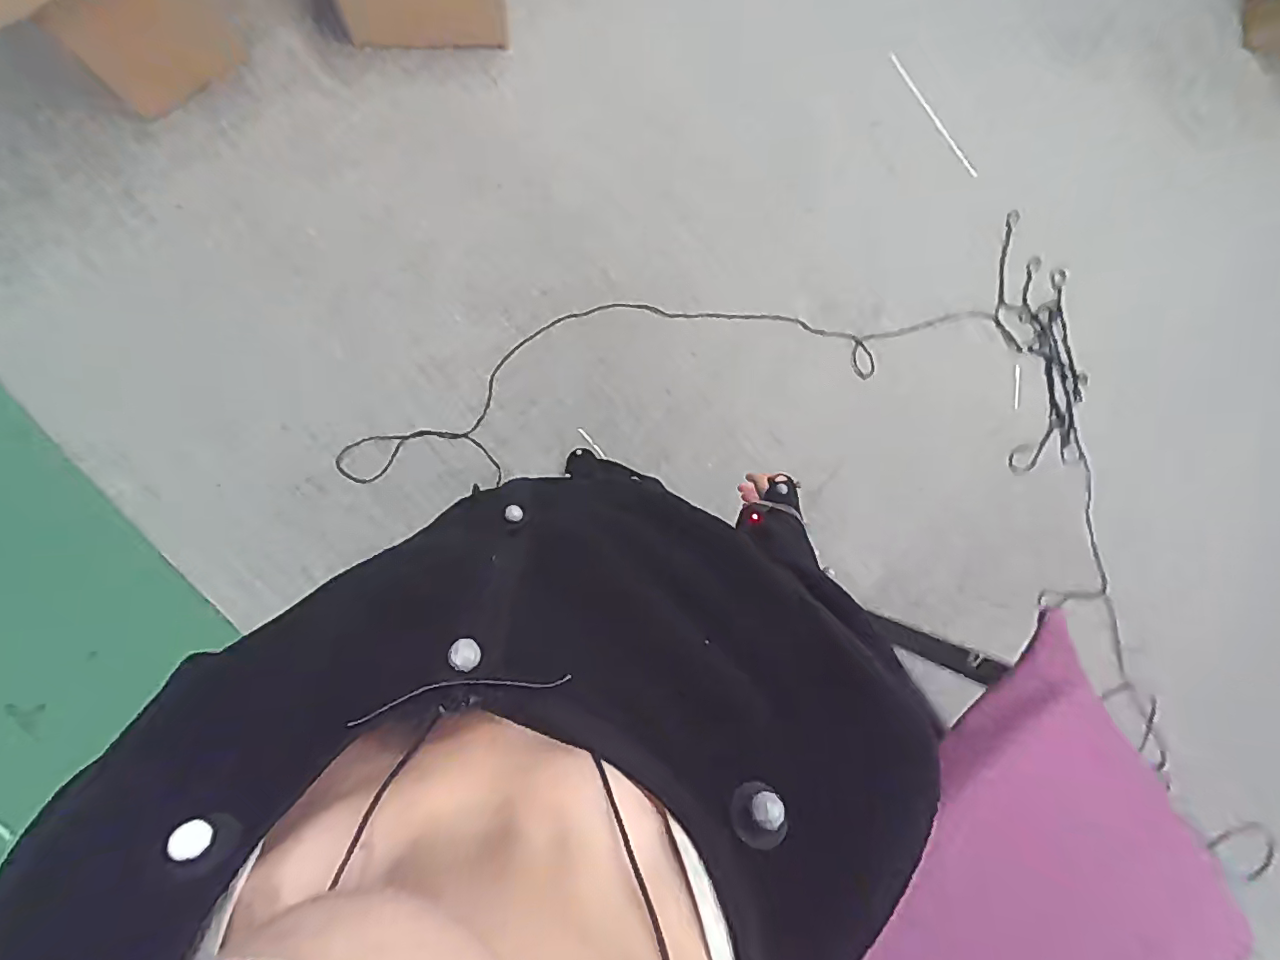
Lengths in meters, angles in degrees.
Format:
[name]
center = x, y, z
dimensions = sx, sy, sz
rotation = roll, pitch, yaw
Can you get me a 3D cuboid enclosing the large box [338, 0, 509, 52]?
[large box]
center = -0.546, -1.306, 1.311
dimensions = 0.408, 0.320, 0.320
rotation = -8, 91, -12
